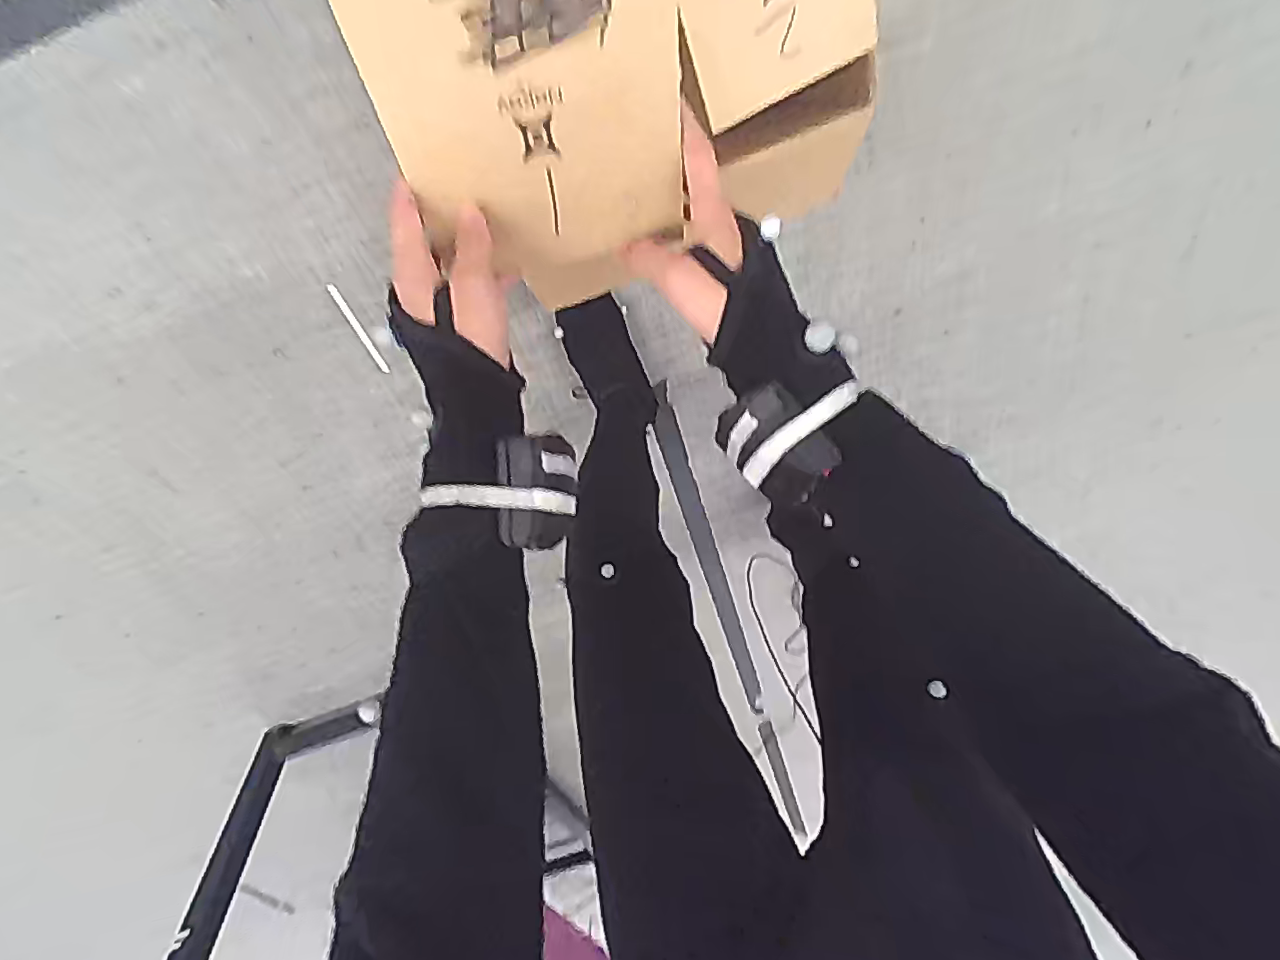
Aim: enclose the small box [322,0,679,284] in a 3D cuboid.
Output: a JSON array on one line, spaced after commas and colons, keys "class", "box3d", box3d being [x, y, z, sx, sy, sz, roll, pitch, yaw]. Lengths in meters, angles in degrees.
[{"class": "small box", "box3d": [-0.074, -0.259, 0.347, 0.168, 0.176, 0.179, -11, 139, 0]}]
